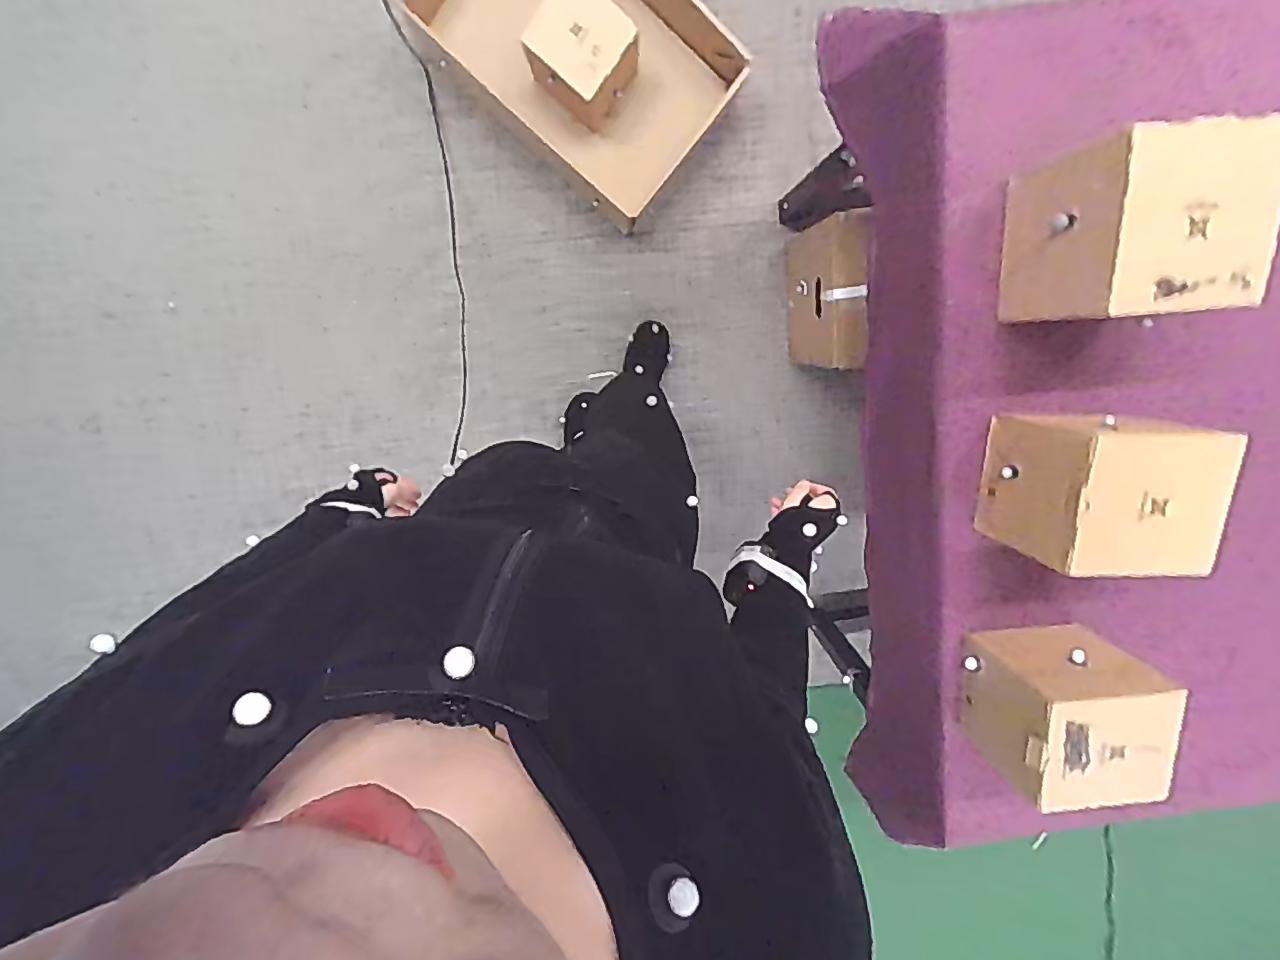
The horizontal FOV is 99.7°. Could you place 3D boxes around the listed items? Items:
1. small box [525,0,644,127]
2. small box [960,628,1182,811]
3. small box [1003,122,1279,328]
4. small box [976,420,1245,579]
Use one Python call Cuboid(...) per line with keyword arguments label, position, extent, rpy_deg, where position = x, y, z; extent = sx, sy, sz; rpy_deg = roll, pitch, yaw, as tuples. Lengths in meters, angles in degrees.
Cuboid(label="small box", position=(-0.111, -0.889, 1.131), extent=(0.179, 0.176, 0.168), rpy_deg=(39, 101, -10))
Cuboid(label="small box", position=(0.587, 0.327, 0.764), extent=(0.179, 0.176, 0.168), rpy_deg=(-4, 104, -2))
Cuboid(label="small box", position=(0.549, -0.271, 0.612), extent=(0.168, 0.176, 0.179), rpy_deg=(-4, 104, -1))
Cuboid(label="small box", position=(0.574, 0.016, 0.688), extent=(0.179, 0.176, 0.168), rpy_deg=(1, 104, -2))
